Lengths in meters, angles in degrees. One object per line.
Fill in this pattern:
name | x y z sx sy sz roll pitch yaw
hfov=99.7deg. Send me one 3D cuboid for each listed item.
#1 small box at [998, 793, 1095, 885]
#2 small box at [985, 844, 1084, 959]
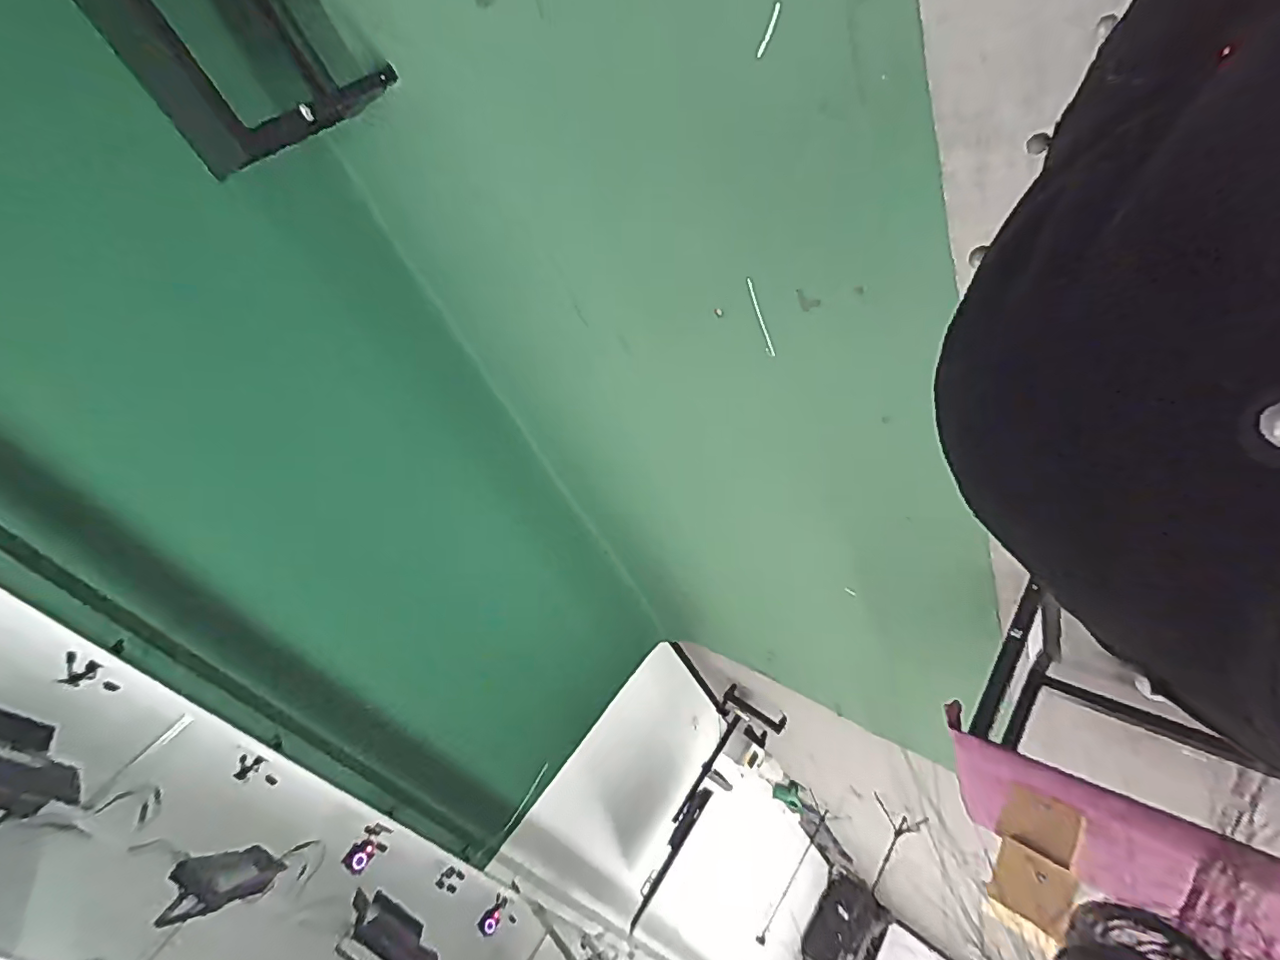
small box | 1.132 1.010 1.507 0.179 0.176 0.168 13 143 48
small box | 1.032 1.107 1.418 0.168 0.176 0.179 19 145 41
